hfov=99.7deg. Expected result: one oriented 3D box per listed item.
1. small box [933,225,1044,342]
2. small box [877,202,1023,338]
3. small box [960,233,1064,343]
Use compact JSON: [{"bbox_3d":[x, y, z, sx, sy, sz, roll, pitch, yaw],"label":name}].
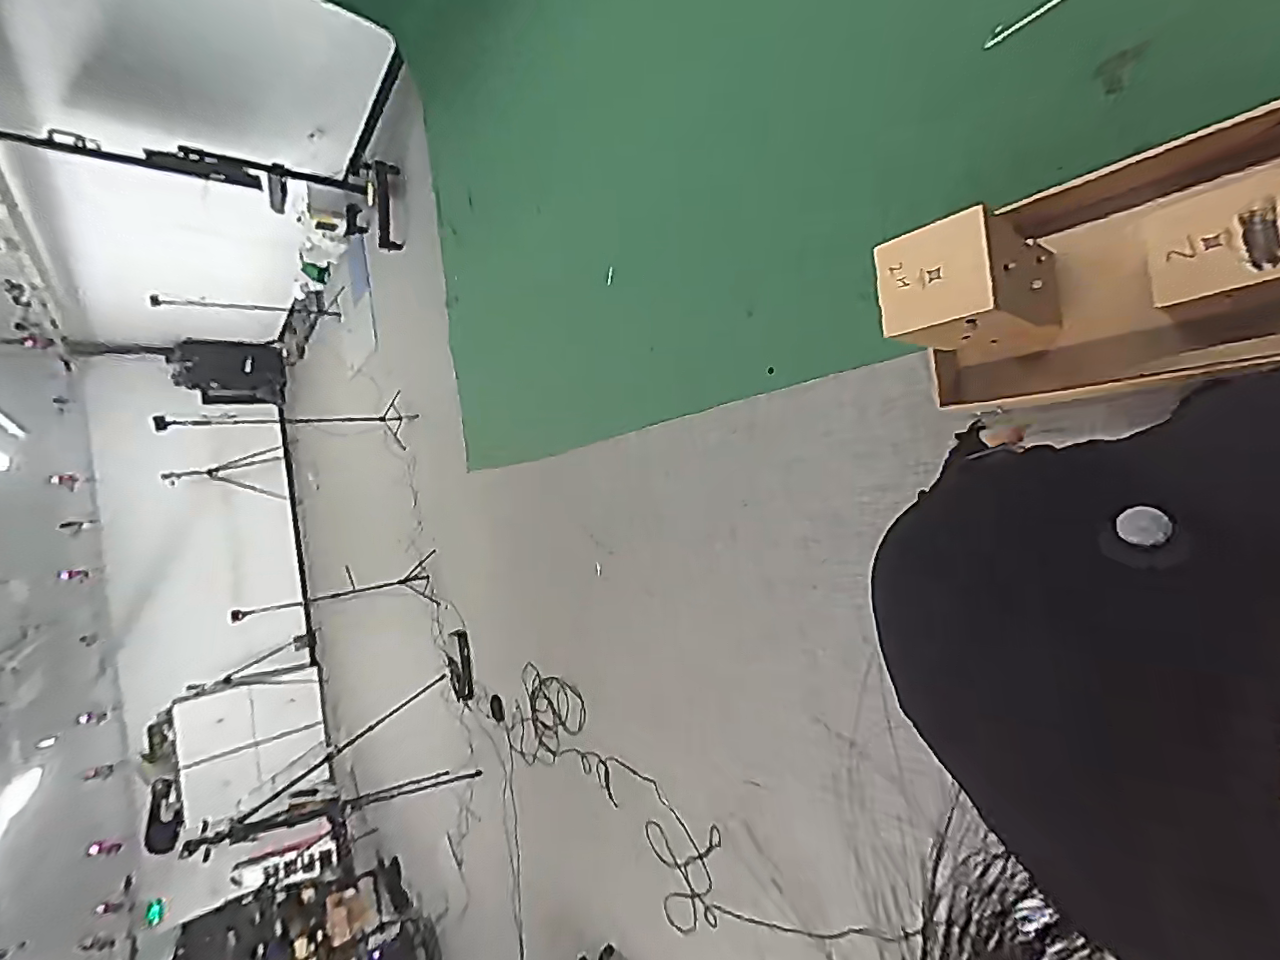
[{"bbox_3d":[0.665,-0.375,1.067,0.179,0.176,0.168,-7,92,48],"label":"small box"},{"bbox_3d":[0.548,-0.355,0.950,0.179,0.176,0.168,-7,90,49],"label":"small box"},{"bbox_3d":[0.790,-0.404,1.169,0.168,0.176,0.179,-8,91,49],"label":"small box"}]
